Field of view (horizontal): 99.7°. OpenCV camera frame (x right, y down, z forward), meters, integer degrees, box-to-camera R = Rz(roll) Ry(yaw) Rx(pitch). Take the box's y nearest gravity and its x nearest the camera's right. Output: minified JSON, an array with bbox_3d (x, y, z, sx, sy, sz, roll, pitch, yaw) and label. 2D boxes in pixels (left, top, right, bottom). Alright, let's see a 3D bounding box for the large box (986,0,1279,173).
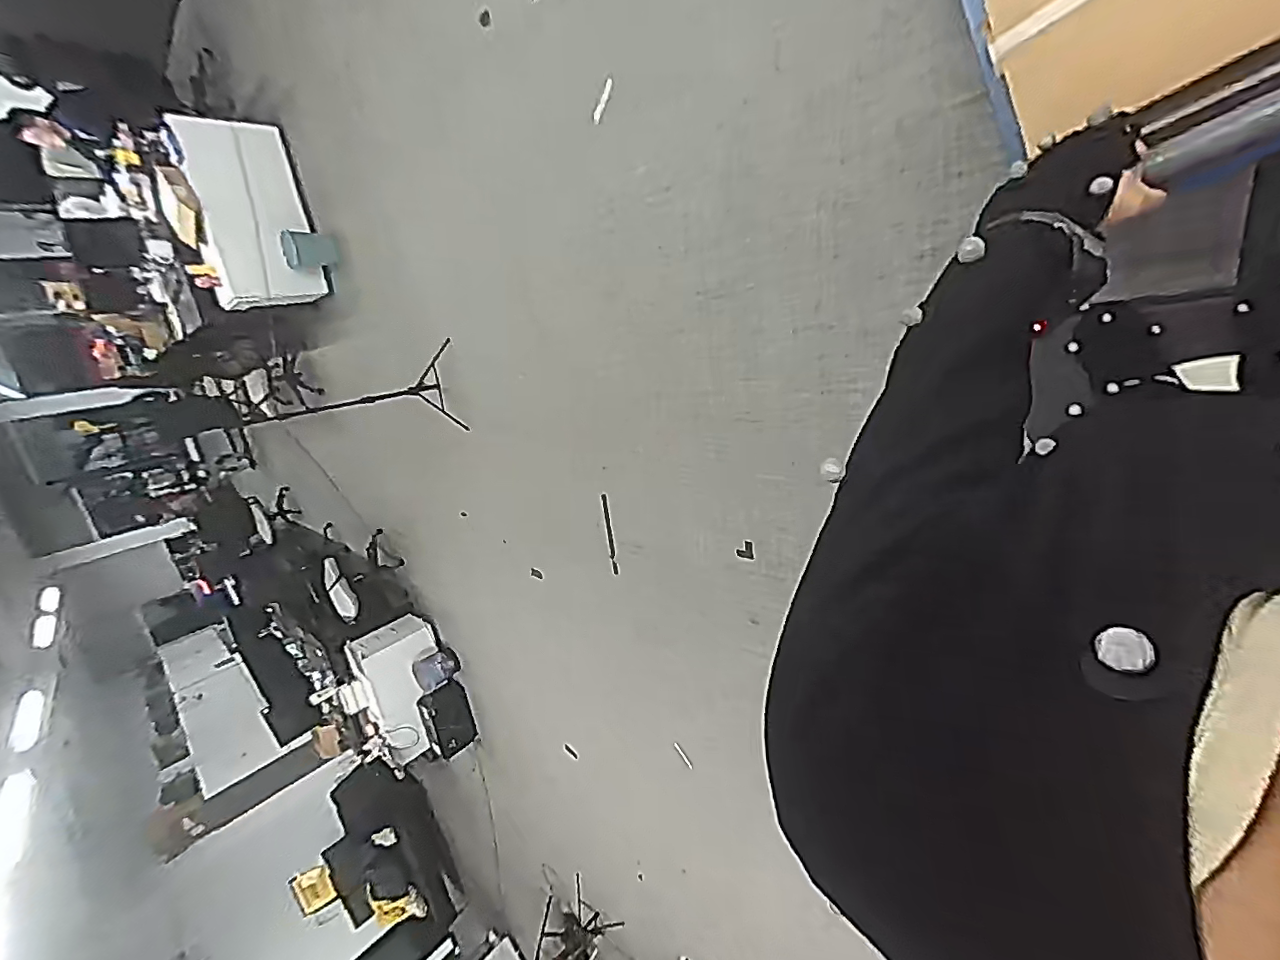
[{"bbox_3d":[0.703,-0.658,0.672,0.408,0.320,0.320,-16,97,46],"label":"large box"}]
